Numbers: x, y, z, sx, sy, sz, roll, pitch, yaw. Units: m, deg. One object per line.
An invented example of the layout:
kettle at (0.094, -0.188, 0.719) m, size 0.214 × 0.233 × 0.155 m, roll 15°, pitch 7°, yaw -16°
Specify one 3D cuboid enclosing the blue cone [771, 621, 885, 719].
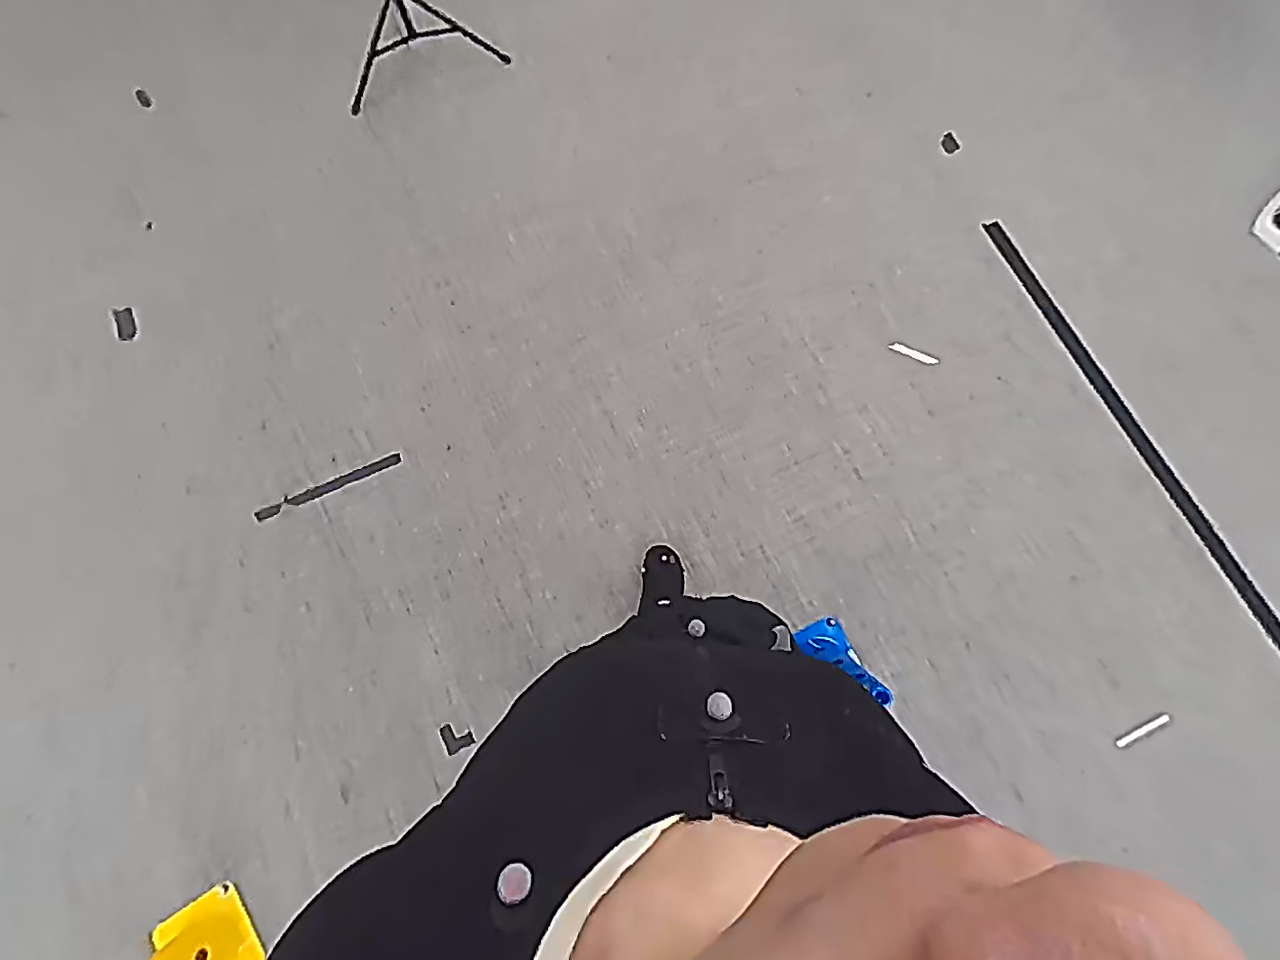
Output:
blue cone at (0.437, 0.436, 1.166) m, size 0.193 × 0.380 × 0.192 m, roll -25°, pitch 79°, yaw -5°
